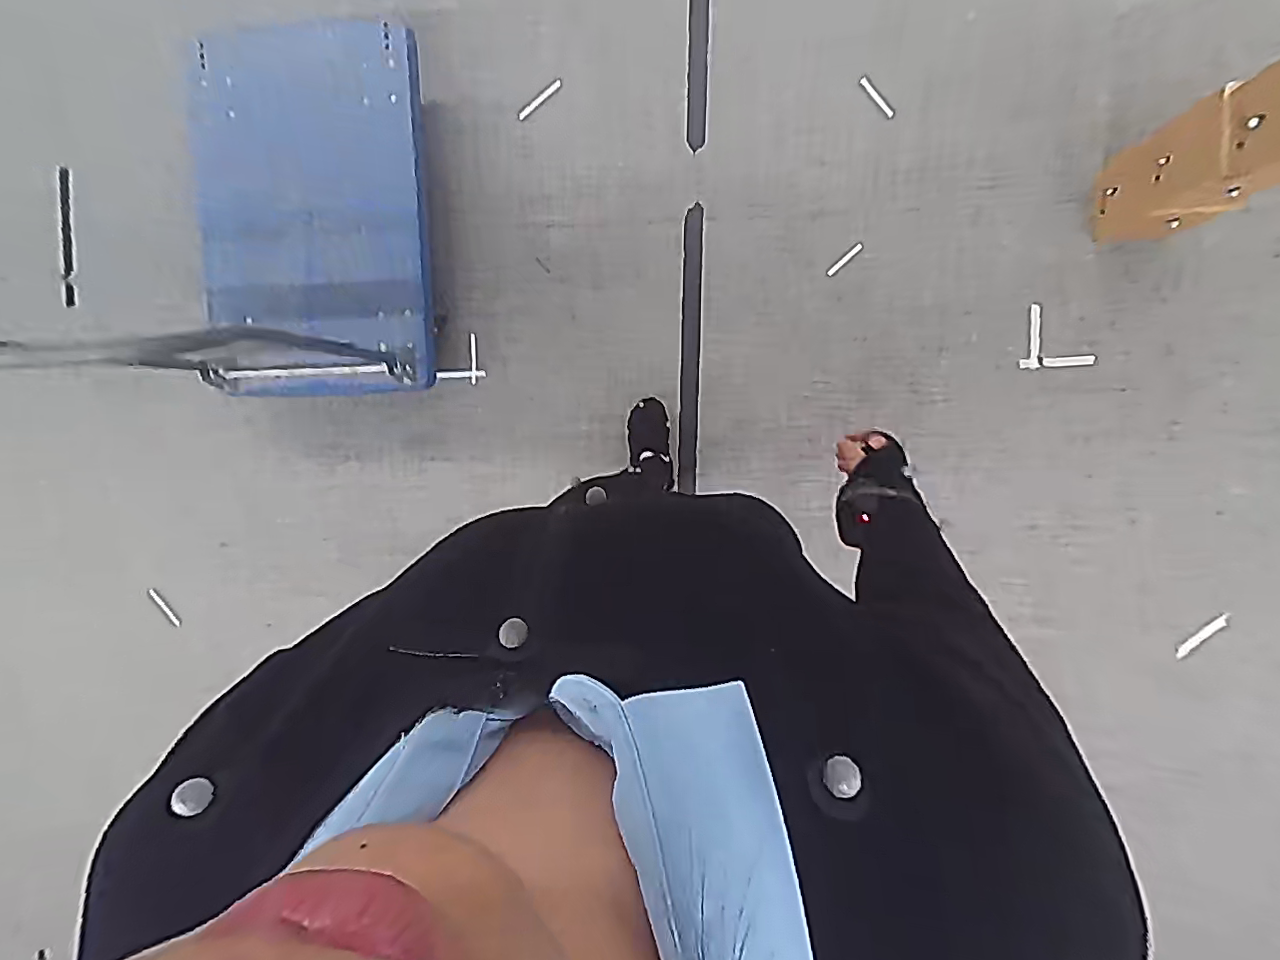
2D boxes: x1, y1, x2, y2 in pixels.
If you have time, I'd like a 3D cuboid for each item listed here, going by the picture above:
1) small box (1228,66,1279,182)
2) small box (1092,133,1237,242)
[{"bbox_3d":[1.164,-0.631,0.908,0.179,0.176,0.168,-5,93,7],"label":"small box"},{"bbox_3d":[1.192,-0.660,1.235,0.179,0.176,0.168,-1,94,6],"label":"small box"}]
